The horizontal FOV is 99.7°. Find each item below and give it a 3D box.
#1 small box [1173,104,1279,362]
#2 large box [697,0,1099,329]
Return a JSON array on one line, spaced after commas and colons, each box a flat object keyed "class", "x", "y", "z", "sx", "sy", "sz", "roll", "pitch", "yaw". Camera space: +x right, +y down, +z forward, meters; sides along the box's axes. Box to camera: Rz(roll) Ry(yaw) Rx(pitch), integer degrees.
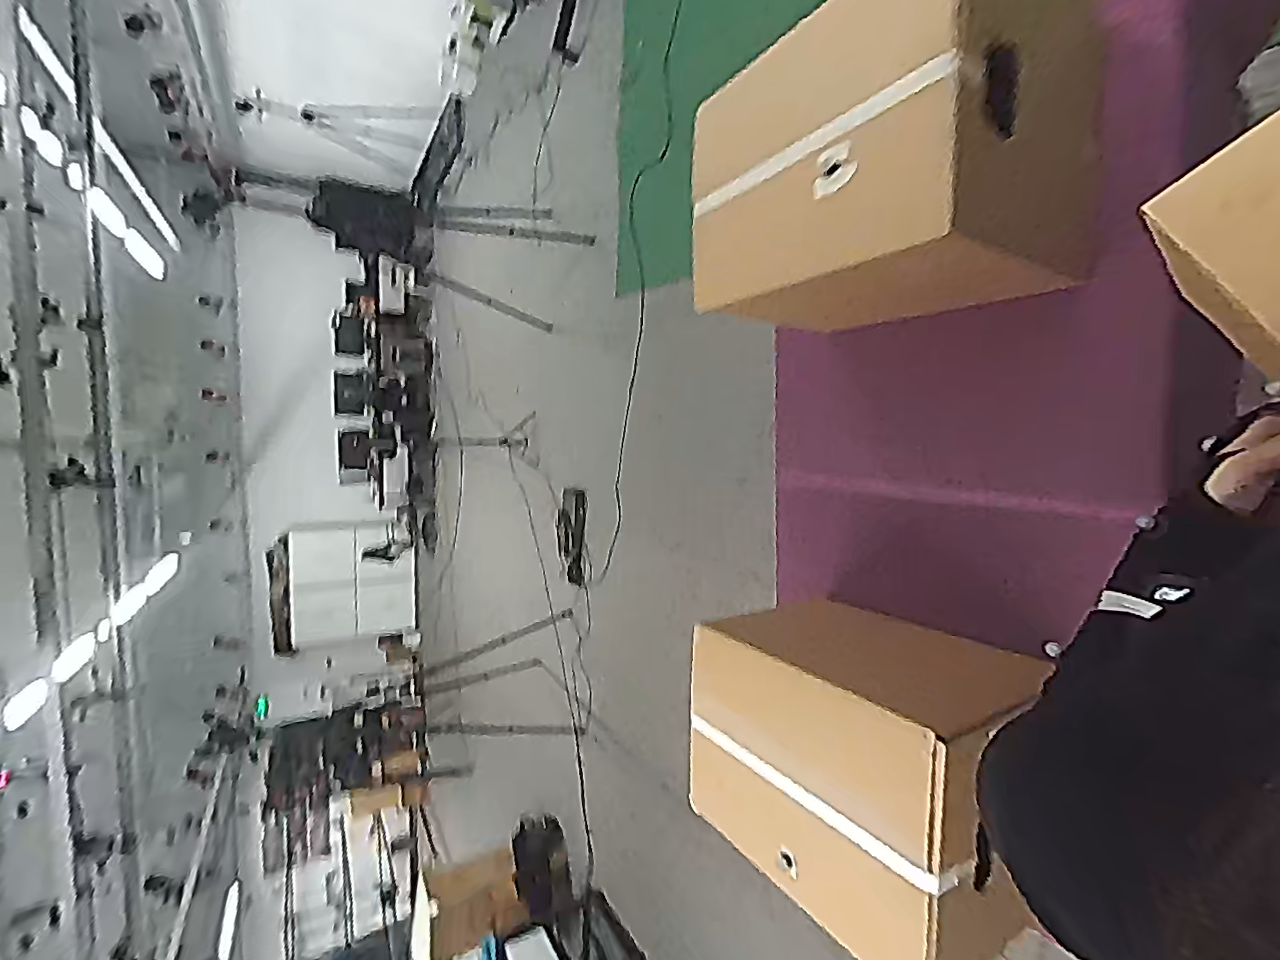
[{"class": "small box", "x": 0.466, "y": -0.145, "z": 0.309, "sx": 0.168, "sy": 0.176, "sz": 0.179, "roll": -38, "pitch": 56, "yaw": 40}, {"class": "large box", "x": 0.327, "y": -0.417, "z": 0.754, "sx": 0.408, "sy": 0.320, "sz": 0.320, "roll": 7, "pitch": 98, "yaw": 56}]
